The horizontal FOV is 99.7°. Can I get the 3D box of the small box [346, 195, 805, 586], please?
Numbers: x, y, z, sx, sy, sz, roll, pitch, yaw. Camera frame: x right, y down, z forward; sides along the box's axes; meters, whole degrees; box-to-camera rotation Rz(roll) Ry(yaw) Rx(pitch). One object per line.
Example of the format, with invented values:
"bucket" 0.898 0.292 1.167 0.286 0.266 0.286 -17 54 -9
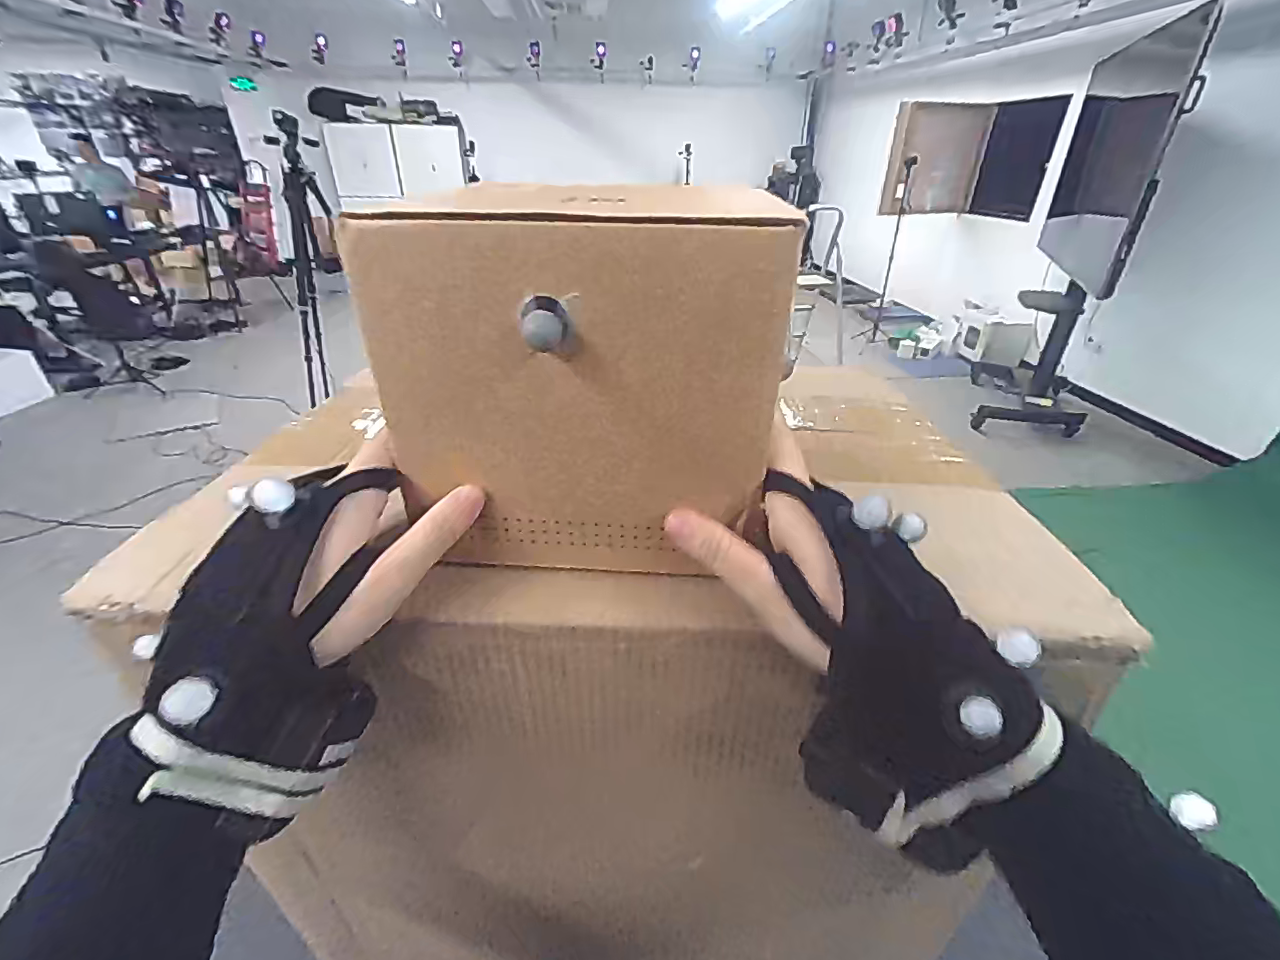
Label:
"small box" -0.020 -0.057 0.308 0.179 0.176 0.168 3 32 4
